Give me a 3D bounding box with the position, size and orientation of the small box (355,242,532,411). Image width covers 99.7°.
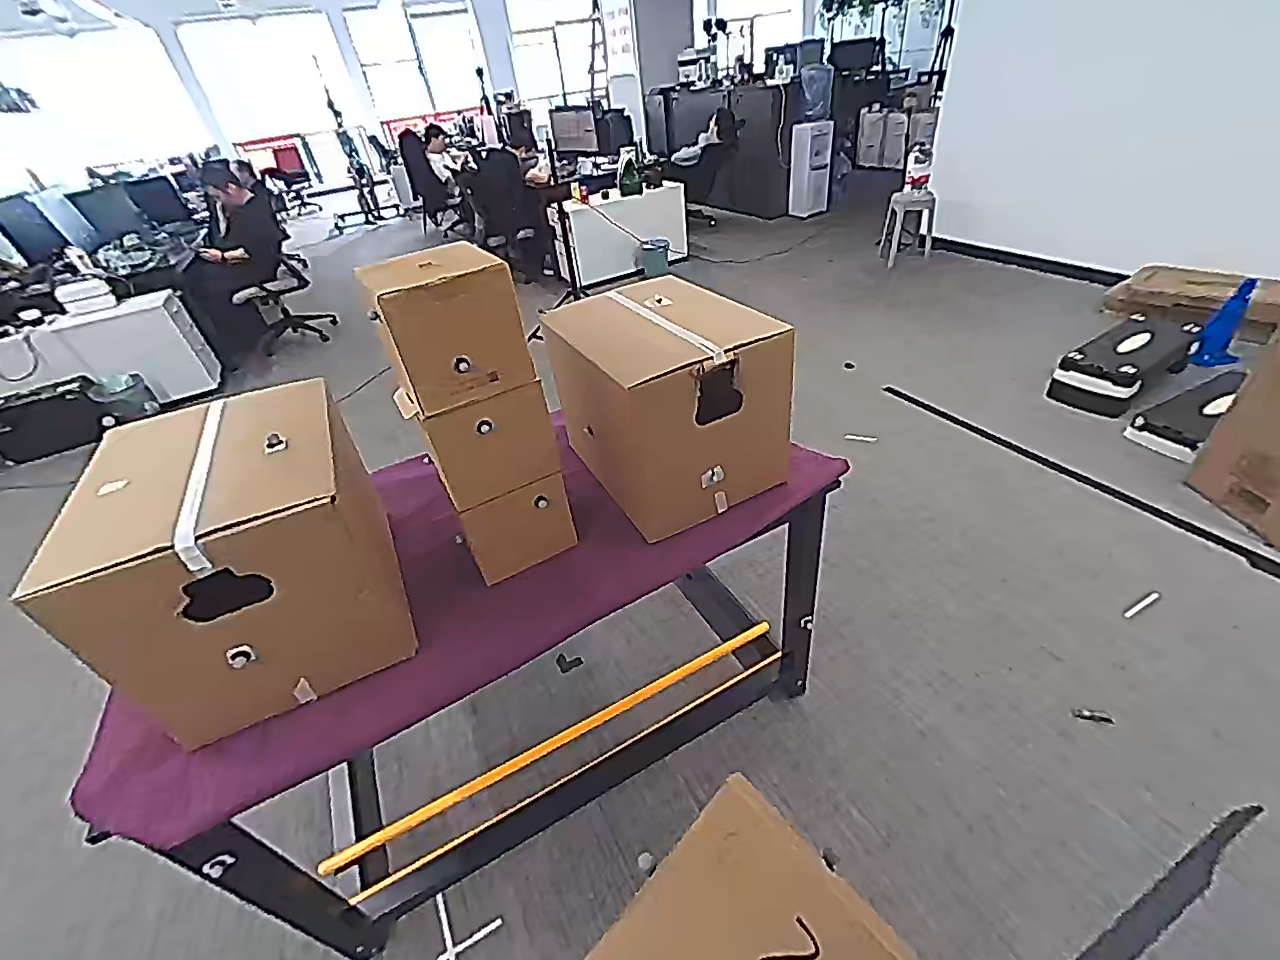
[{"bbox_3d":[-0.272,-0.219,0.759,0.168,0.176,0.179,-25,41,-22],"label":"small box"}]

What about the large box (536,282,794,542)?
[{"bbox_3d":[0.043,-0.152,1.043,0.320,0.320,0.408,-22,38,-19],"label":"large box"}]
